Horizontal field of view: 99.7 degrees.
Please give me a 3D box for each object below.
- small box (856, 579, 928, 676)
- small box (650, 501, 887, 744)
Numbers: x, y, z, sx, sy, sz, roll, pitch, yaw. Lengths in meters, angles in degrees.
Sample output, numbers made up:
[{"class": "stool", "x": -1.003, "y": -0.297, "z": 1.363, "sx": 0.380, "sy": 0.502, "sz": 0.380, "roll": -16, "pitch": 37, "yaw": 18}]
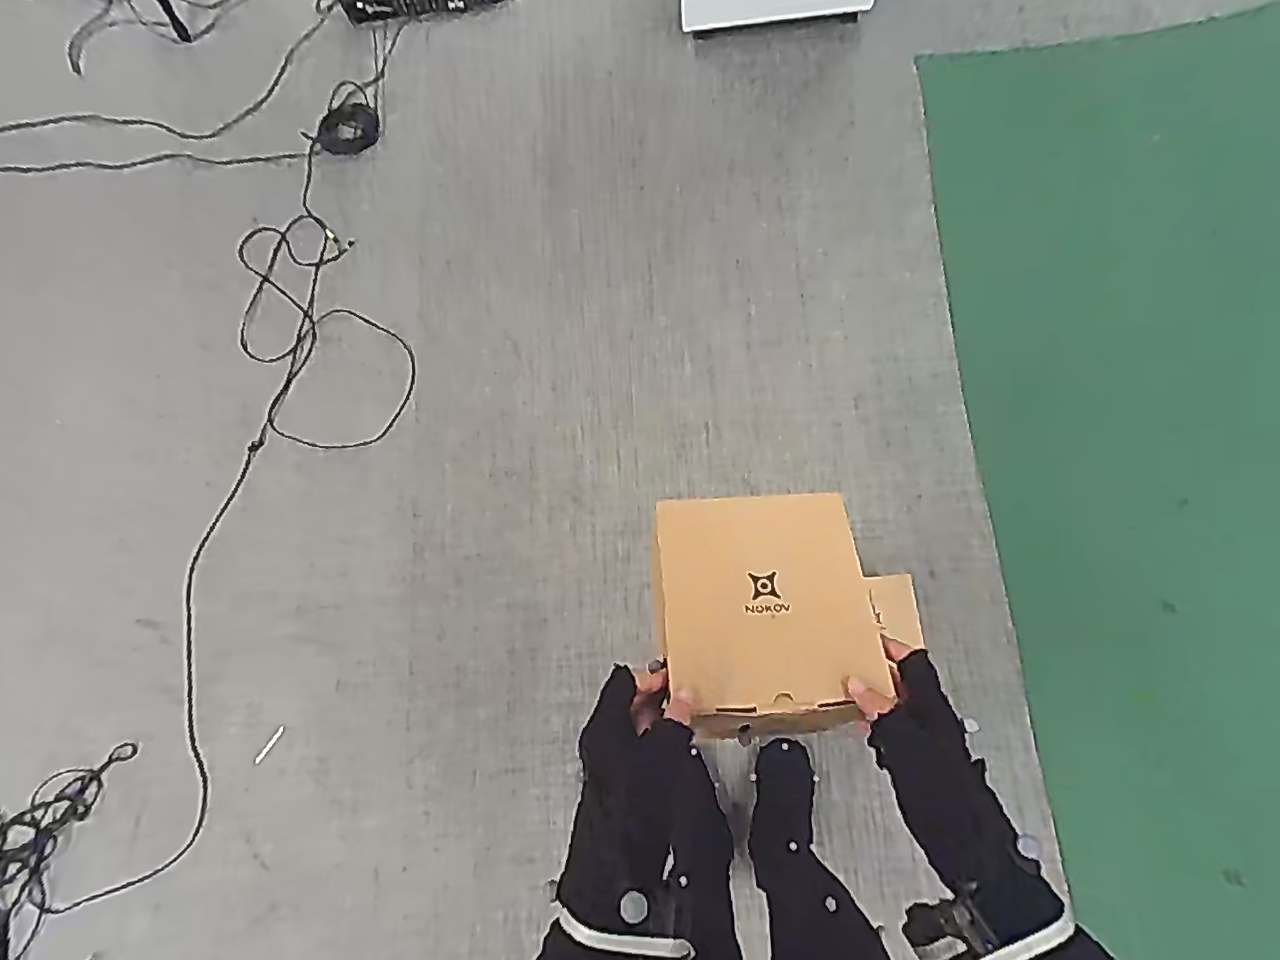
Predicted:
[{"class": "small box", "x": 0.453, "y": 0.295, "z": 1.094, "sx": 0.168, "sy": 0.176, "sz": 0.179, "roll": -6, "pitch": 77, "yaw": 5}, {"class": "small box", "x": 0.095, "y": 0.137, "z": 0.503, "sx": 0.168, "sy": 0.176, "sz": 0.179, "roll": -3, "pitch": 58, "yaw": -1}]
